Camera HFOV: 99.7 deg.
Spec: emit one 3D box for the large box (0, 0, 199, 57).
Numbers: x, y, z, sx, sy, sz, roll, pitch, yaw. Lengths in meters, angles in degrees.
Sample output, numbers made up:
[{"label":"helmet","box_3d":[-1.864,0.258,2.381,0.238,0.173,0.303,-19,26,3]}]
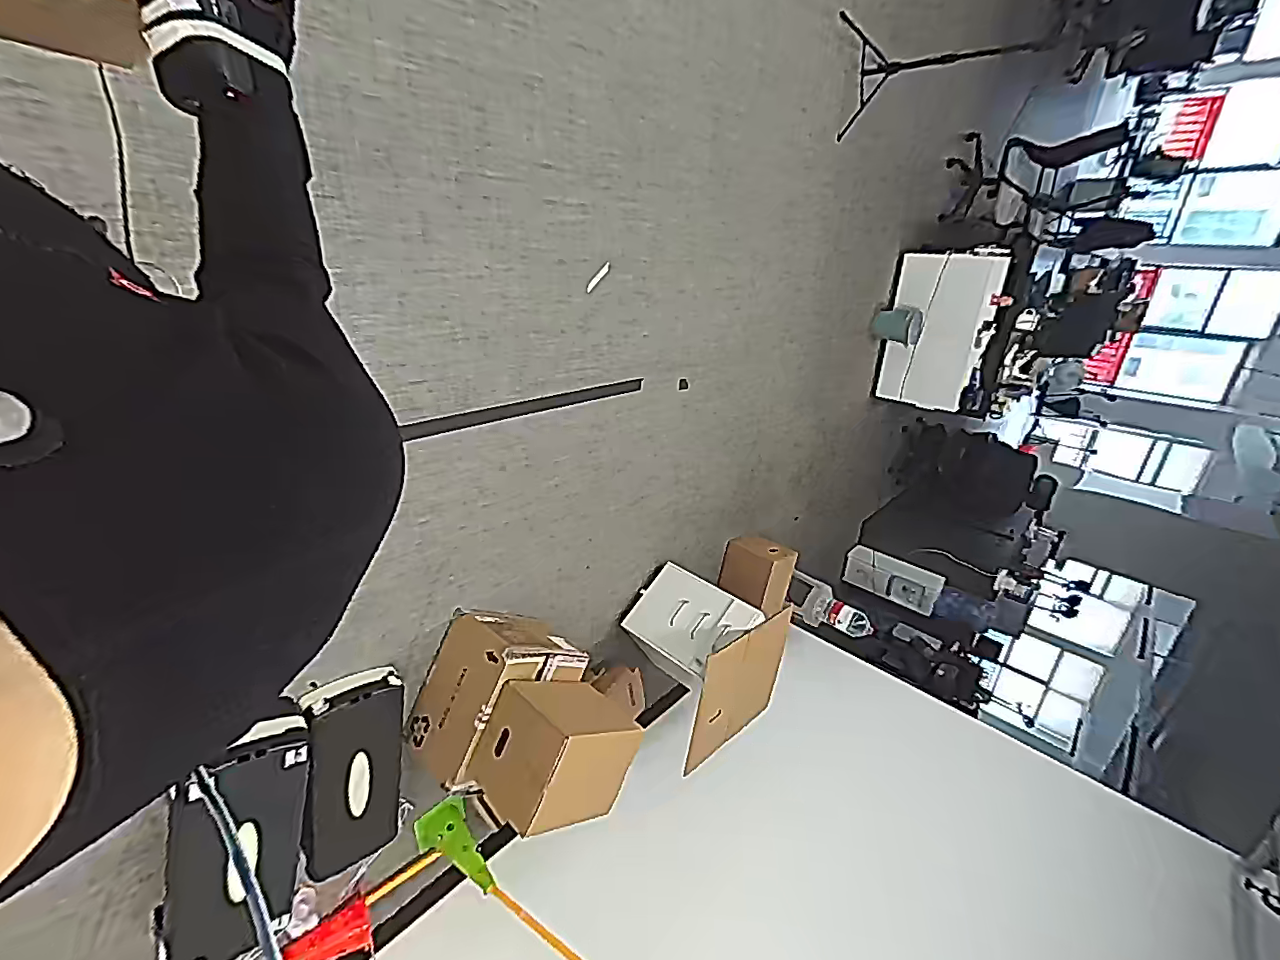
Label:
[{"label":"large box","box_3d":[-0.547,-0.483,0.281,0.408,0.320,0.320,-19,125,-46]}]
